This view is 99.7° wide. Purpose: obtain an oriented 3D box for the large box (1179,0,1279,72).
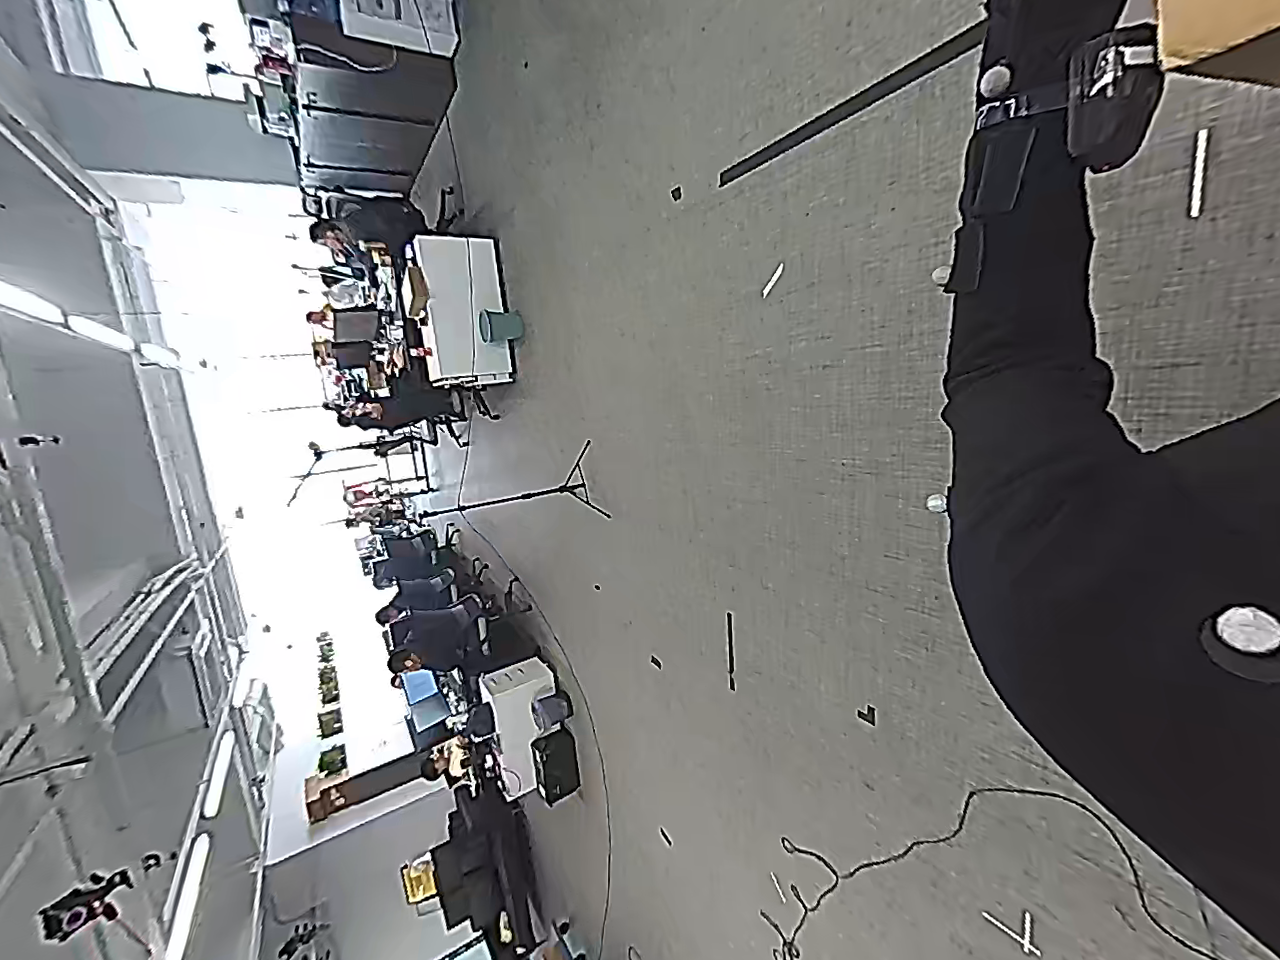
[{"bbox_3d":[0.474,-0.408,0.163,0.408,0.320,0.320,6,114,58],"label":"large box"}]
